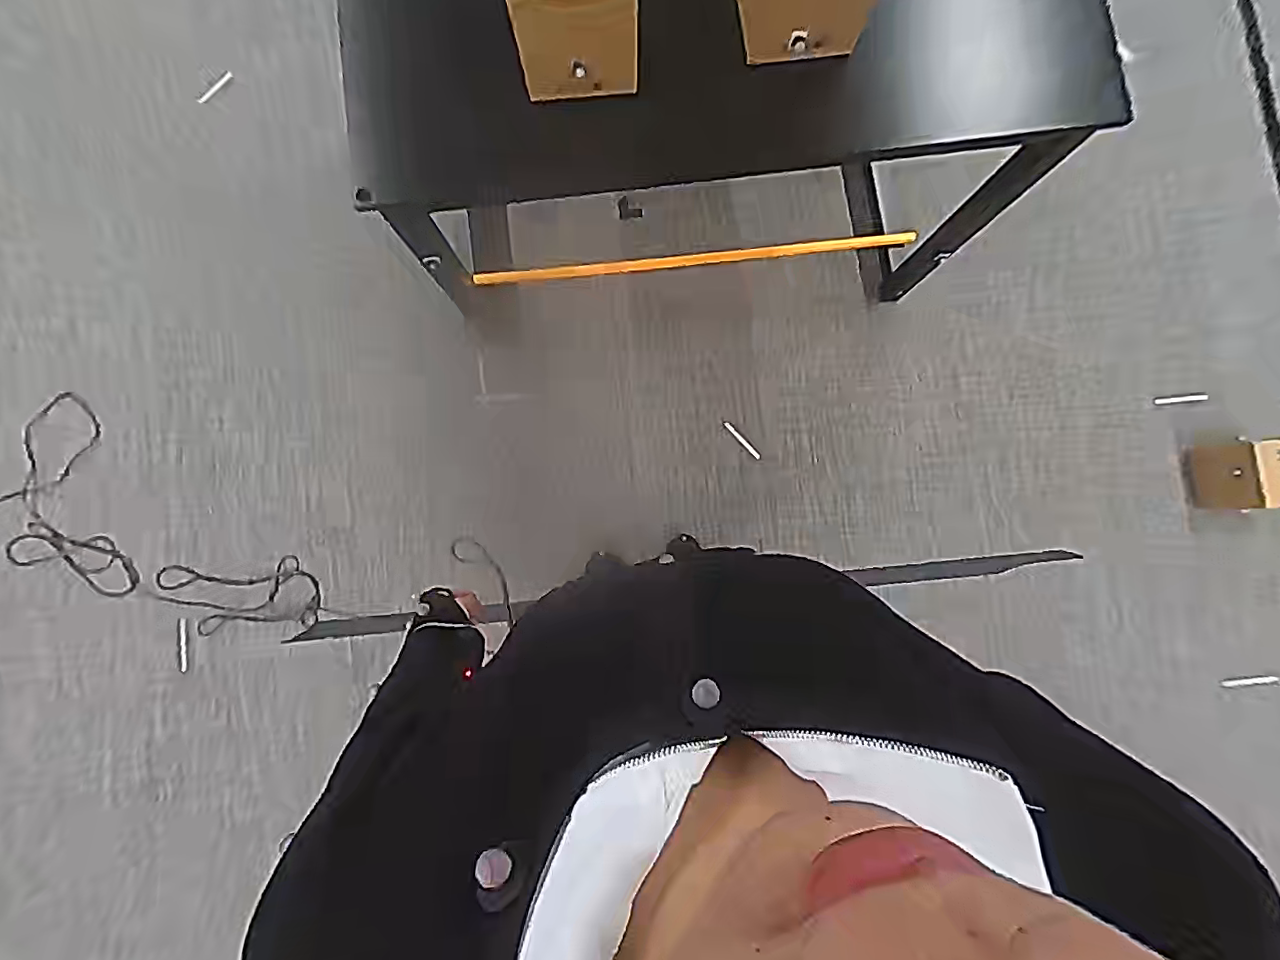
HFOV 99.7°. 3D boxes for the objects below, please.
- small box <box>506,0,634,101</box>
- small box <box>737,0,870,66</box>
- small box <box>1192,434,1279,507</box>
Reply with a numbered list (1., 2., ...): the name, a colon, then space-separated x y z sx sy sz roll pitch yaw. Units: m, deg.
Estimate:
1. small box: -0.098 -0.684 0.764 0.168 0.176 0.179 -6 85 0
2. small box: 0.234 -0.748 0.773 0.168 0.176 0.179 -8 86 0
3. small box: 1.646 -0.026 1.446 0.168 0.176 0.179 -8 86 -1
